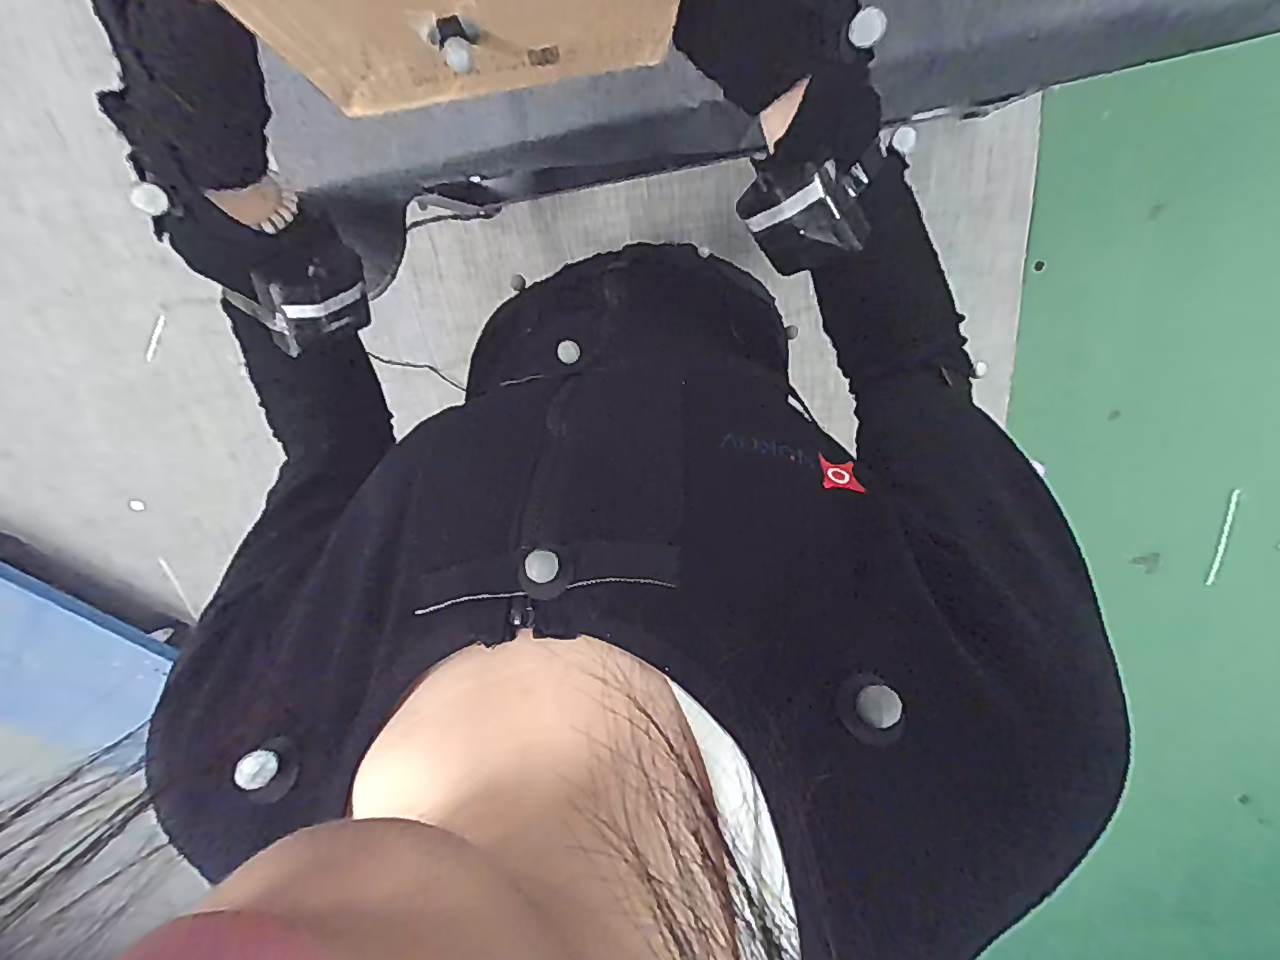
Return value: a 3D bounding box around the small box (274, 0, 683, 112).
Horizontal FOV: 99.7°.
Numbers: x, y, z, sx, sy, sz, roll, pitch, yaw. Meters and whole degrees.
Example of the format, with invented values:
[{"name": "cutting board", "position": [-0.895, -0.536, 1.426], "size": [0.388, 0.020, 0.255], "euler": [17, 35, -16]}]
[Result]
[{"name": "small box", "position": [-0.072, -0.261, 0.173], "size": [0.168, 0.176, 0.179], "euler": [-13, 105, -2]}]
